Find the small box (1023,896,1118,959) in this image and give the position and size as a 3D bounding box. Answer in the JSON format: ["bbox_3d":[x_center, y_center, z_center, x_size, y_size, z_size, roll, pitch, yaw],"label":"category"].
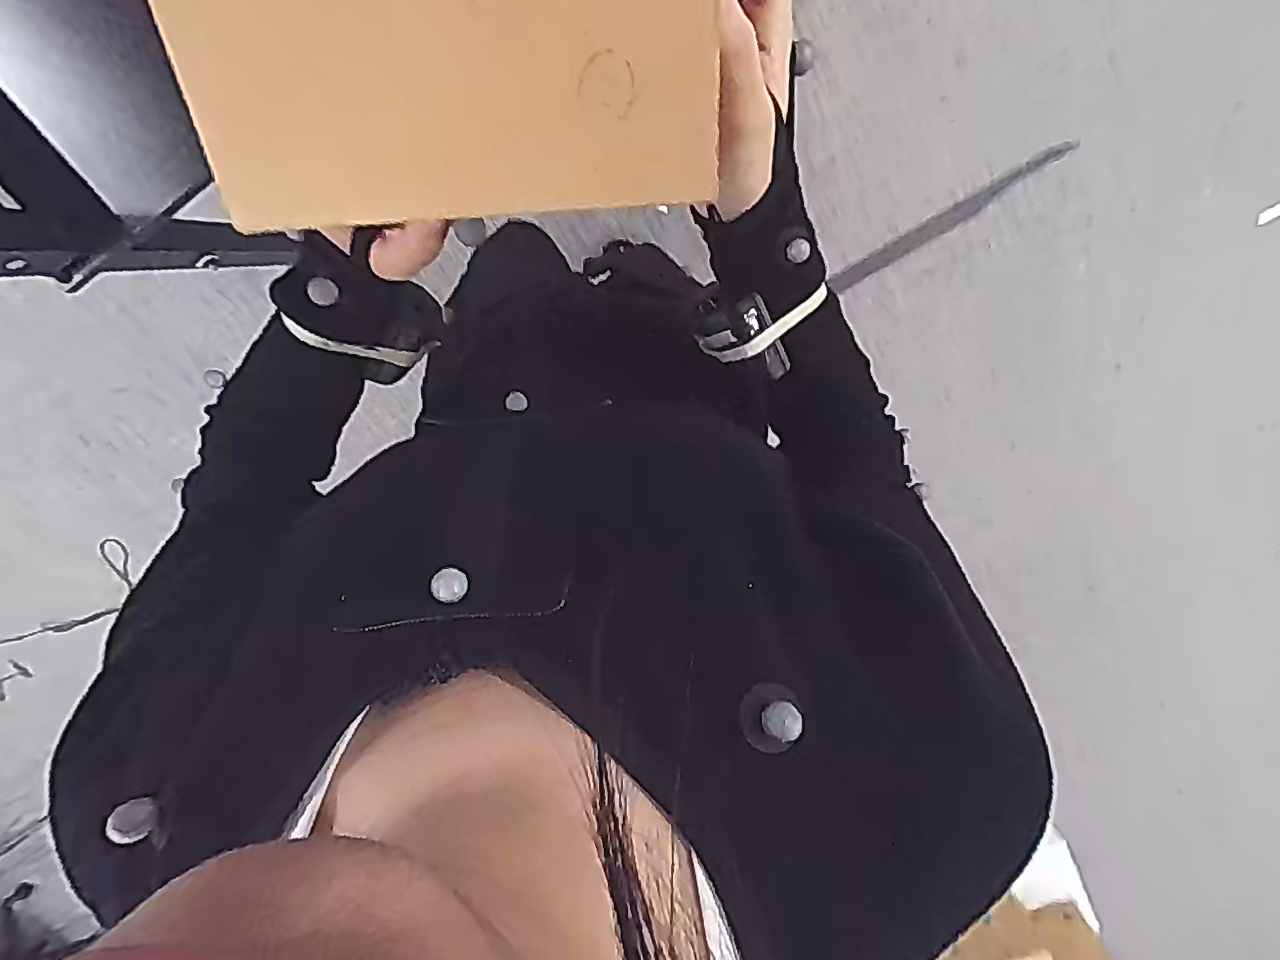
[{"bbox_3d":[1.039,1.155,1.315,0.168,0.176,0.179,-26,111,10],"label":"small box"}]

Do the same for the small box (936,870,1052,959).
[{"bbox_3d":[0.830,1.056,1.269,0.168,0.176,0.179,-26,111,10],"label":"small box"}]

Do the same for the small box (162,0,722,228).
[{"bbox_3d":[-0.059,-0.205,0.214,0.168,0.176,0.179,-3,118,-1],"label":"small box"}]
